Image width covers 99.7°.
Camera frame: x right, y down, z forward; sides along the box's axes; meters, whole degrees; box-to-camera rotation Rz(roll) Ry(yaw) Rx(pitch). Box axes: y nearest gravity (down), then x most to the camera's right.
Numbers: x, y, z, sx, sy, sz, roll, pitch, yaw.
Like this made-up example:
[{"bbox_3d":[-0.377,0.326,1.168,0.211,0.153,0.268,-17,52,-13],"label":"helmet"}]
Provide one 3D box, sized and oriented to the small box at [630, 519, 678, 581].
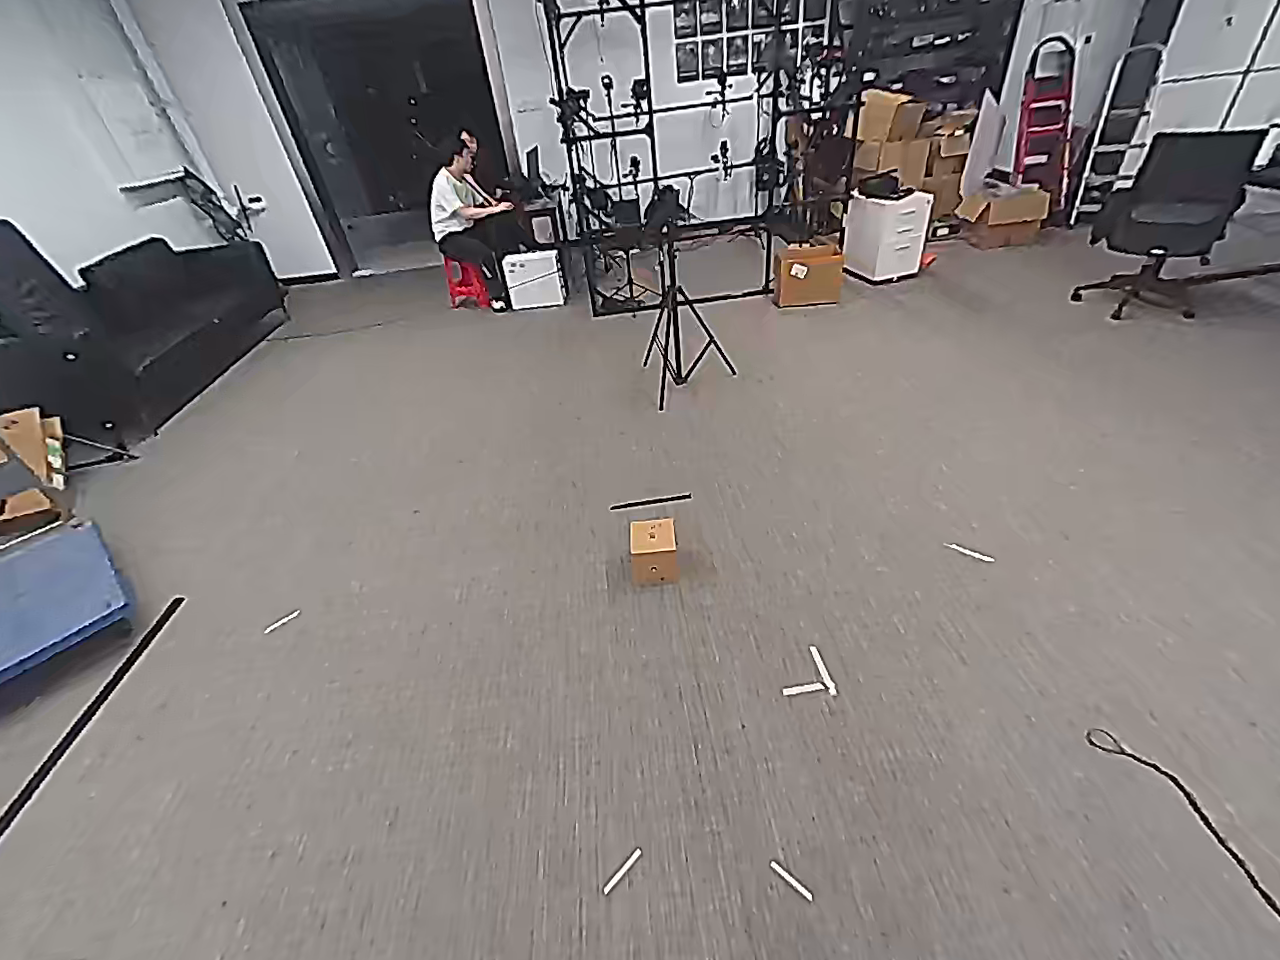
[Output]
[{"bbox_3d":[0.054,0.271,2.051,0.168,0.176,0.179,-5,36,2],"label":"small box"}]
